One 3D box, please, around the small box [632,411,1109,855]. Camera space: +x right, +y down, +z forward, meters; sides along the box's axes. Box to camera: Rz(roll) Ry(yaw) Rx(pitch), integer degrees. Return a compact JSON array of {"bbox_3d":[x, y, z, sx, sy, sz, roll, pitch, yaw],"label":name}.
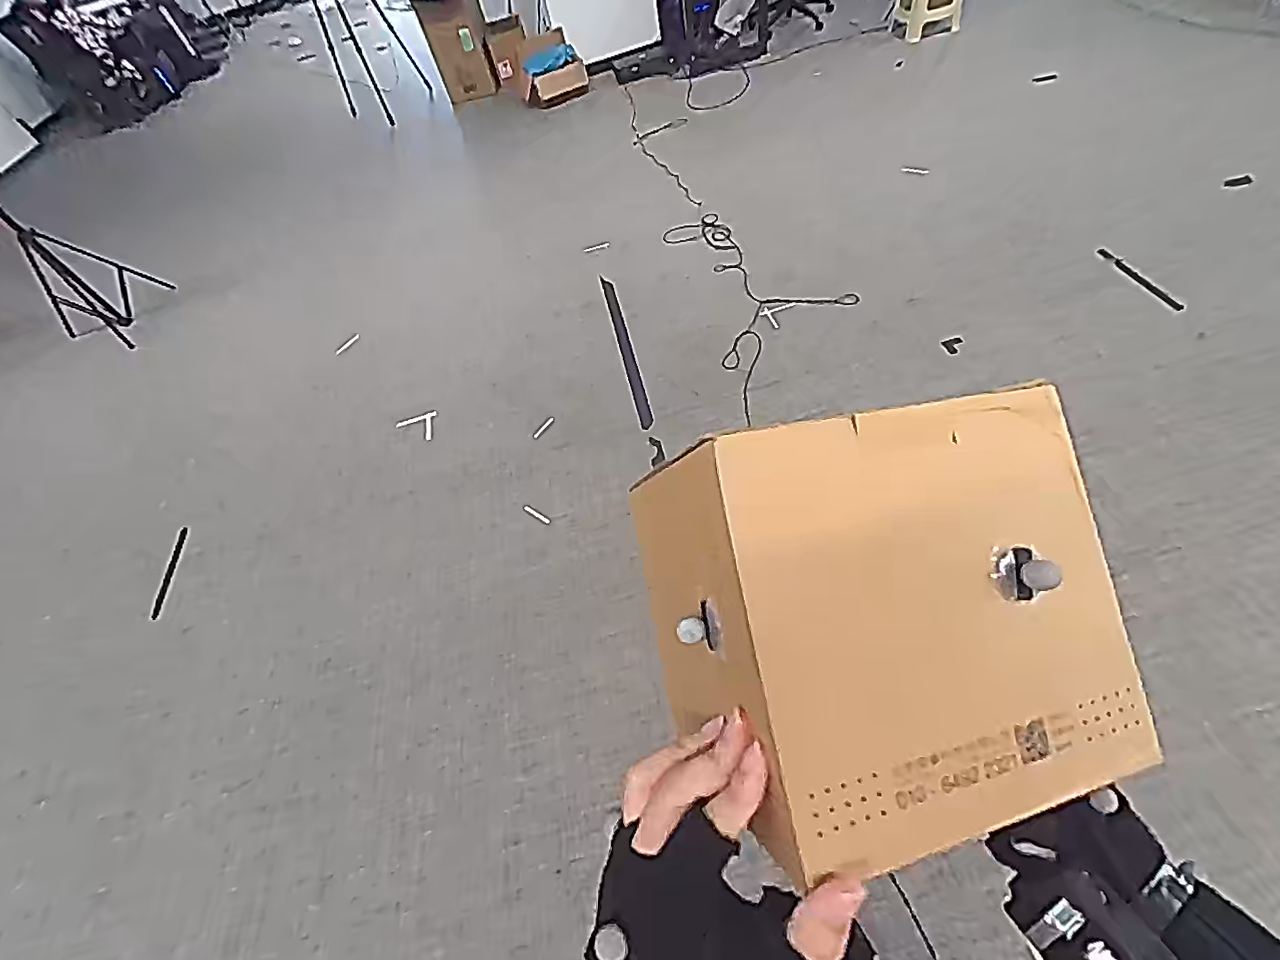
[{"bbox_3d":[0.104,0.075,0.307,0.168,0.179,0.176,-10,83,-13],"label":"small box"}]
